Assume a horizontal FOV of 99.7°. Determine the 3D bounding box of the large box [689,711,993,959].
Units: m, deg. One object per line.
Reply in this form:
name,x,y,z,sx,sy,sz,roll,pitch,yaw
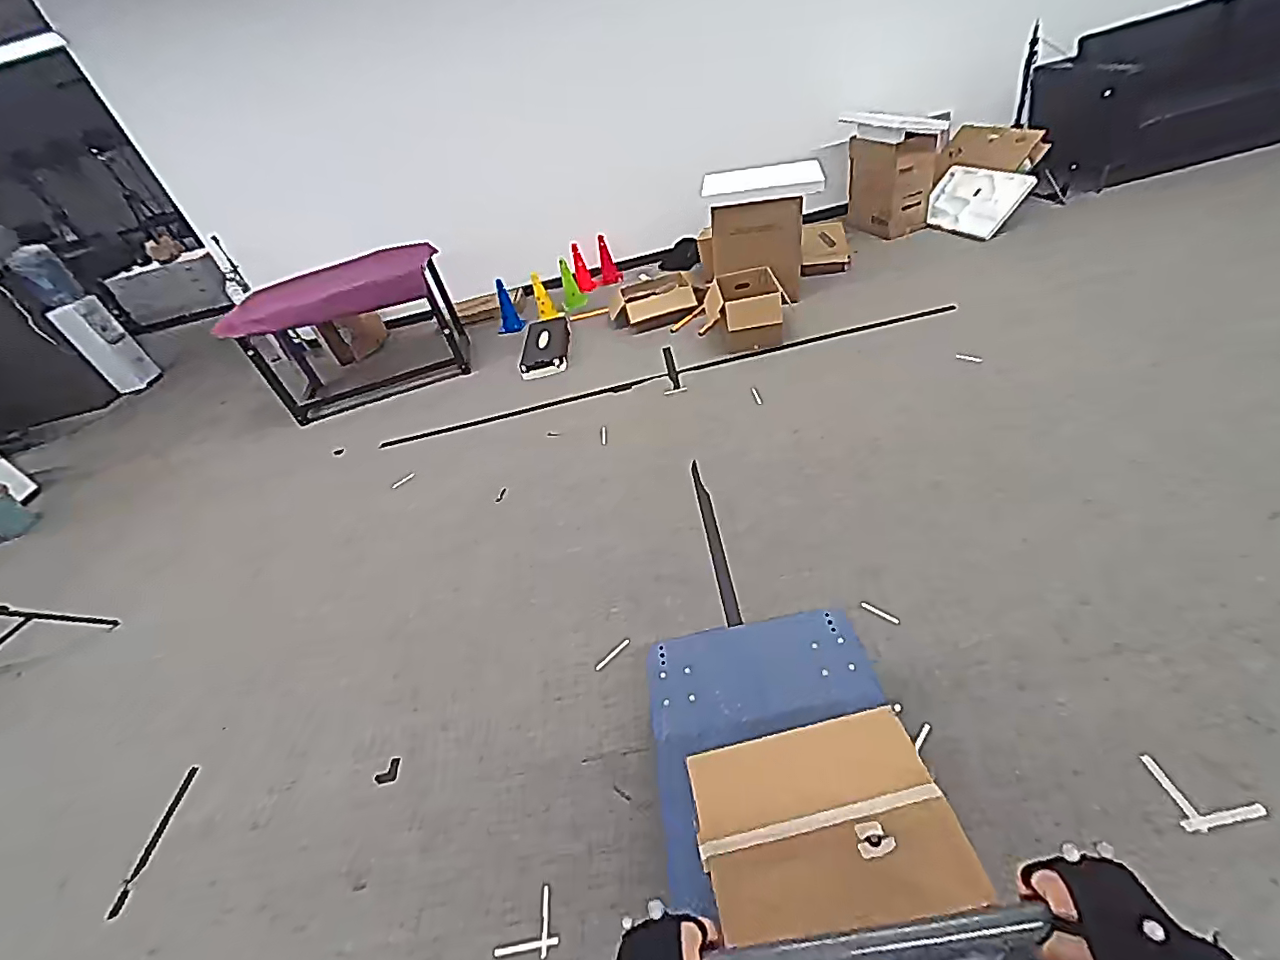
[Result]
large box,0.334,0.692,0.997,0.408,0.320,0.320,-14,39,0
